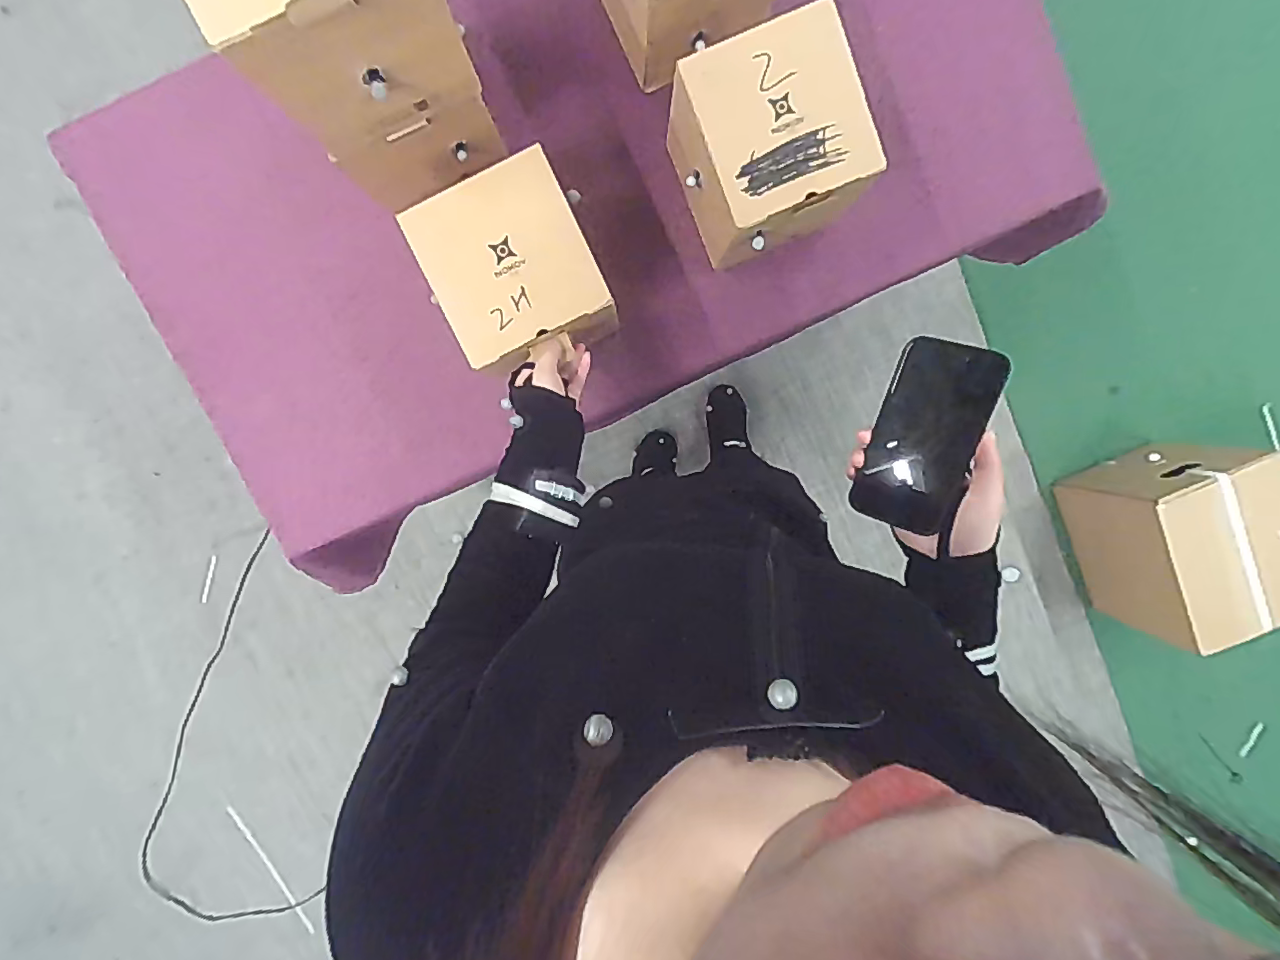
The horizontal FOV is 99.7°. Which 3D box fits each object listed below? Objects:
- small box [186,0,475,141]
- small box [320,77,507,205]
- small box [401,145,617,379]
[{"bbox_3d":[-0.260,-0.417,0.444,0.168,0.176,0.179,-24,98,1],"label":"small box"},{"bbox_3d":[-0.270,-0.439,0.607,0.168,0.176,0.179,-25,97,1],"label":"small box"},{"bbox_3d":[-0.136,-0.235,0.633,0.168,0.176,0.179,-25,95,3],"label":"small box"}]
